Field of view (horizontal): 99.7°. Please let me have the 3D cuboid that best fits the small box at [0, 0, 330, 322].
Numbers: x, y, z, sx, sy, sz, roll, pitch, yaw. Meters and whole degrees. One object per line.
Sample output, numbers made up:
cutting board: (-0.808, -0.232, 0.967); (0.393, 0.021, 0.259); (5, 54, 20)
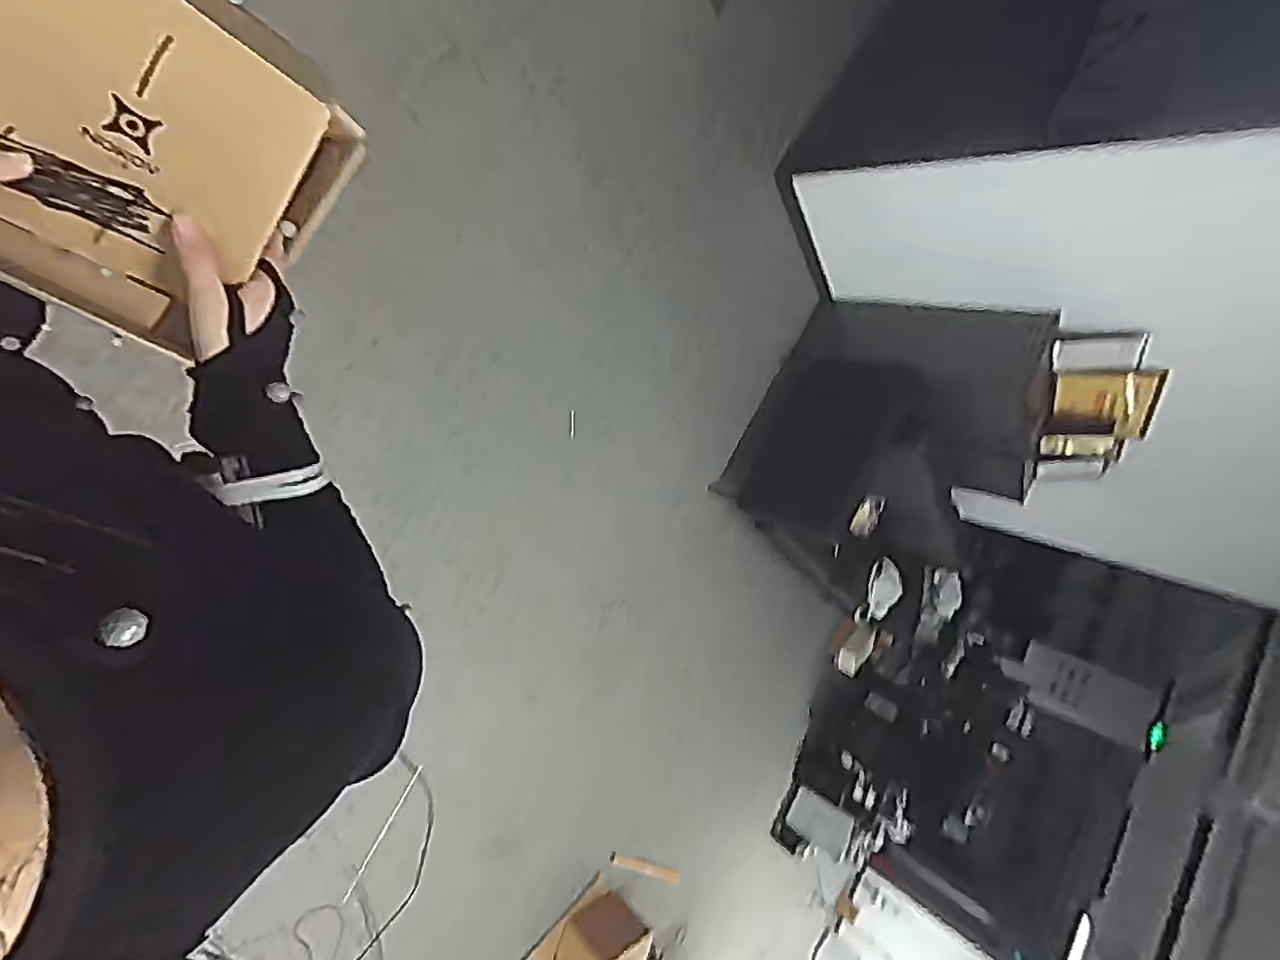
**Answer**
small box: (-0.338, -0.254, 0.381); (0.168, 0.176, 0.179); (25, 114, -41)
